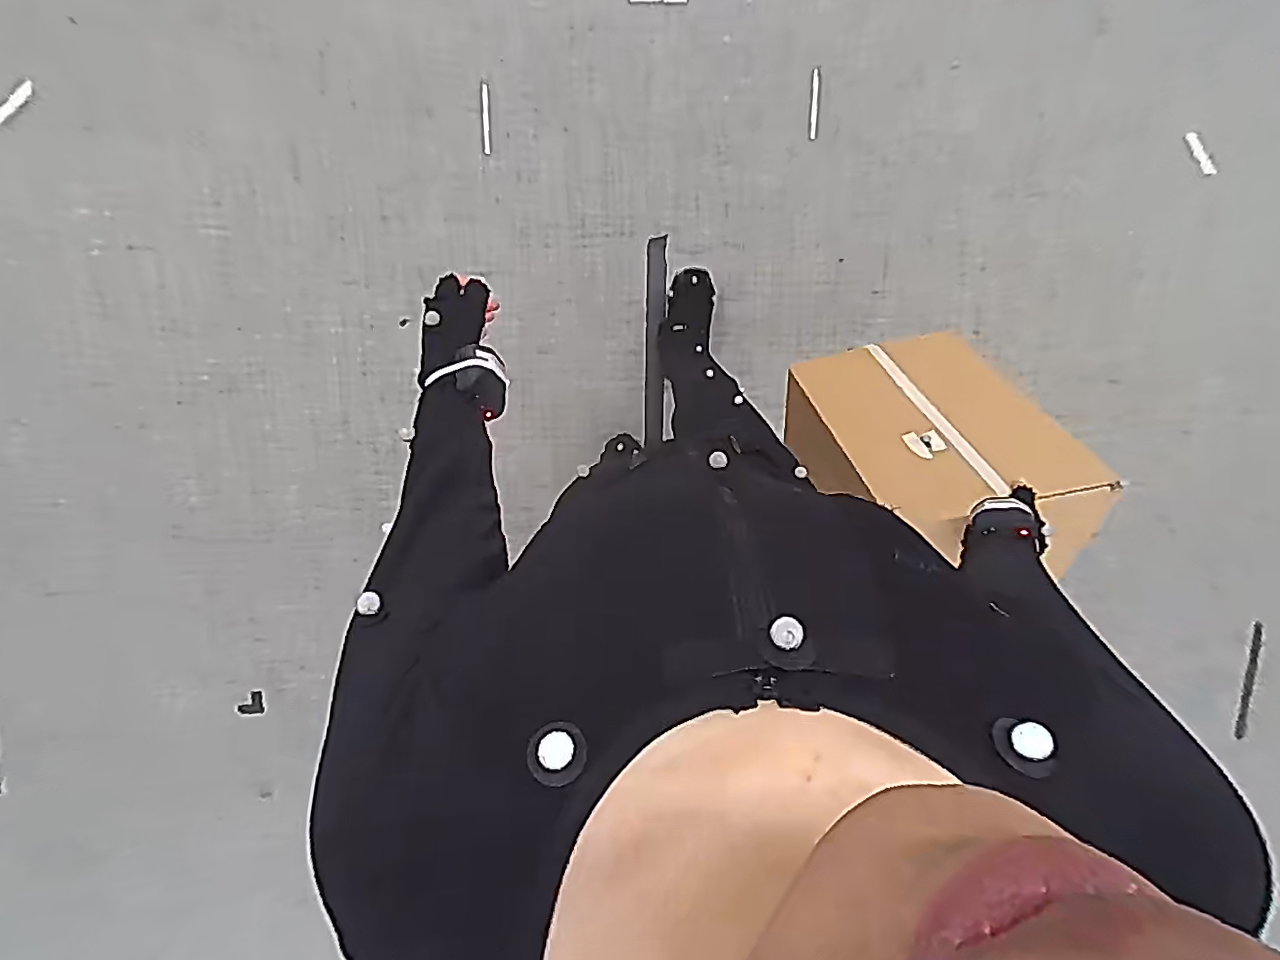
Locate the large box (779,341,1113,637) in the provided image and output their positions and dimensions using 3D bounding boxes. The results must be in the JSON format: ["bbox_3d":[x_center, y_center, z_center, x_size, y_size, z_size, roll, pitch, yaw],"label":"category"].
[{"bbox_3d":[0.475,0.006,0.969,0.320,0.408,0.320,-11,135,-2],"label":"large box"}]
